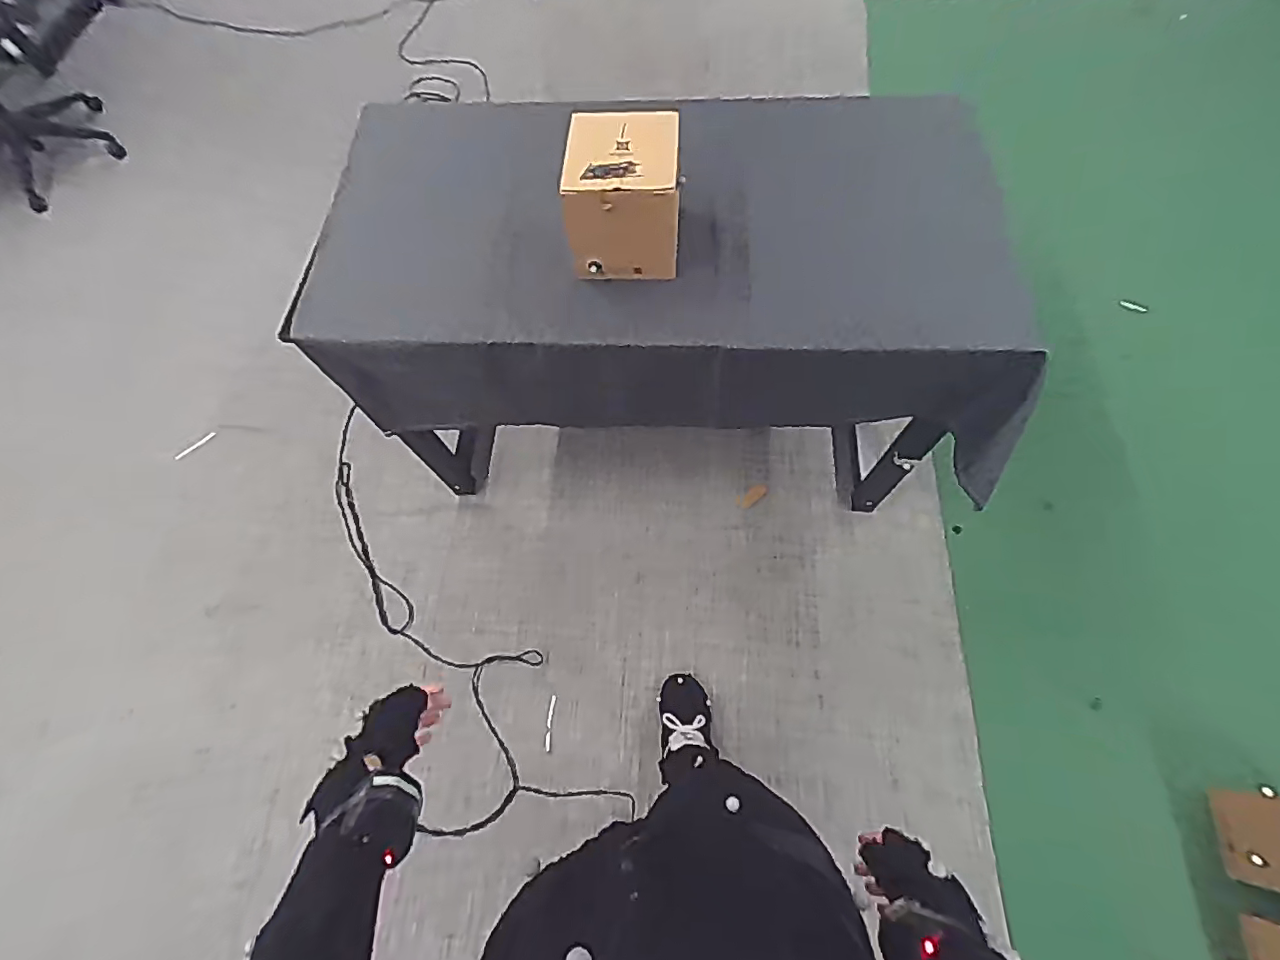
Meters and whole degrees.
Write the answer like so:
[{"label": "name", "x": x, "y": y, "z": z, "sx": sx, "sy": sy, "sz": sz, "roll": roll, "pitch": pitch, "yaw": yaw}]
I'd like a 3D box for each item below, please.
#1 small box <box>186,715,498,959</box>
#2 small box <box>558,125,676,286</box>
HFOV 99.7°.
[{"label": "small box", "x": -0.251, "y": 0.349, "z": 0.496, "sx": 0.176, "sy": 0.179, "sz": 0.168, "roll": -41, "pitch": 86, "yaw": -21}, {"label": "small box", "x": -0.027, "y": -0.434, "z": 0.874, "sx": 0.168, "sy": 0.176, "sz": 0.179, "roll": 1, "pitch": 65, "yaw": 4}]
